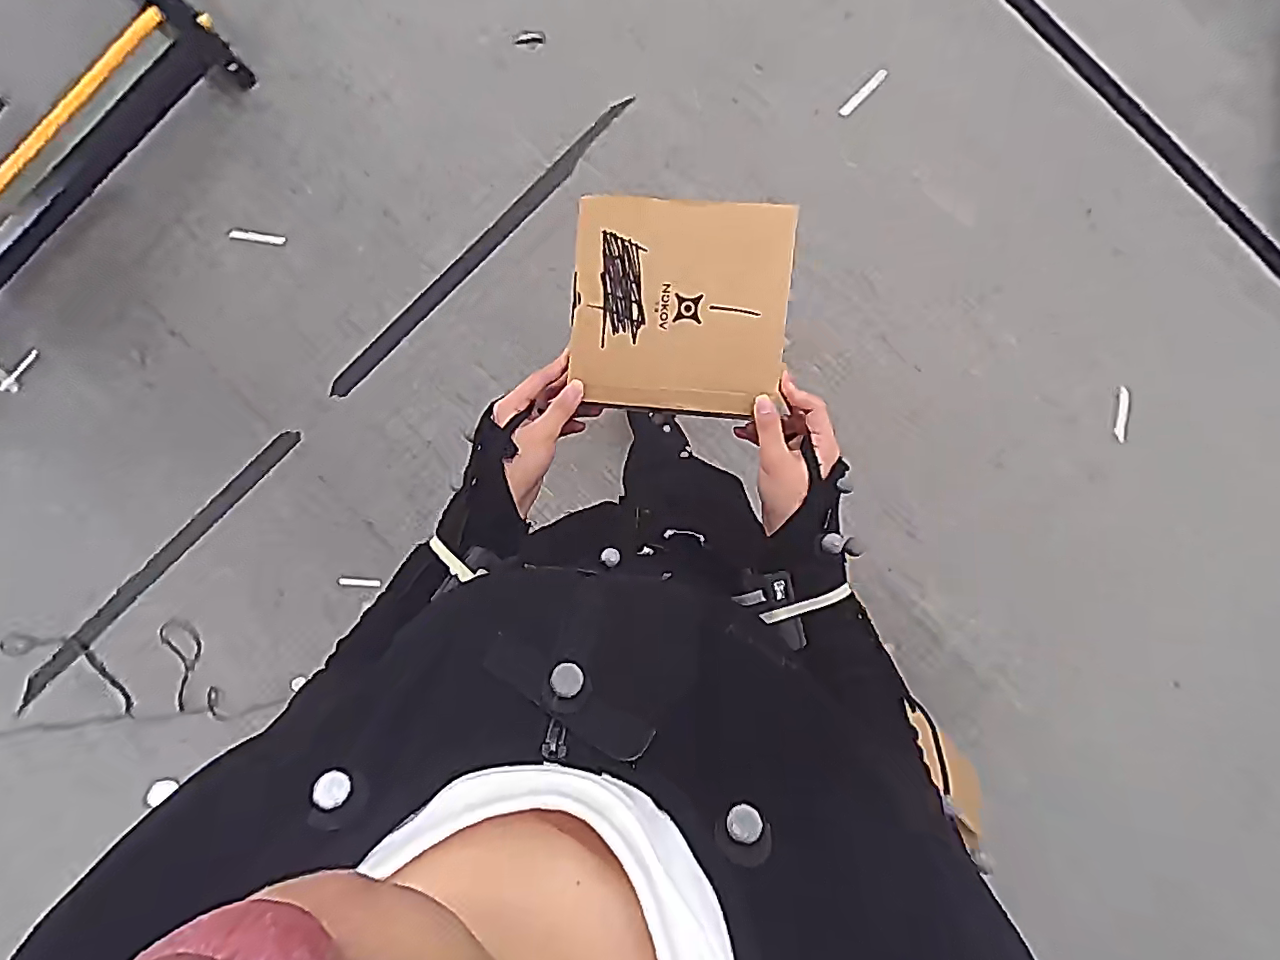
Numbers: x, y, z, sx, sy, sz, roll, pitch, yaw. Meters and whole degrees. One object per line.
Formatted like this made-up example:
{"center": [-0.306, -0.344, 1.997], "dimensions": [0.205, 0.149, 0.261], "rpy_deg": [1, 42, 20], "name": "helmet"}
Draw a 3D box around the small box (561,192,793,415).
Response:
{"center": [0.036, -0.150, 0.511], "dimensions": [0.179, 0.176, 0.168], "rpy_deg": [5, 97, 6], "name": "small box"}
